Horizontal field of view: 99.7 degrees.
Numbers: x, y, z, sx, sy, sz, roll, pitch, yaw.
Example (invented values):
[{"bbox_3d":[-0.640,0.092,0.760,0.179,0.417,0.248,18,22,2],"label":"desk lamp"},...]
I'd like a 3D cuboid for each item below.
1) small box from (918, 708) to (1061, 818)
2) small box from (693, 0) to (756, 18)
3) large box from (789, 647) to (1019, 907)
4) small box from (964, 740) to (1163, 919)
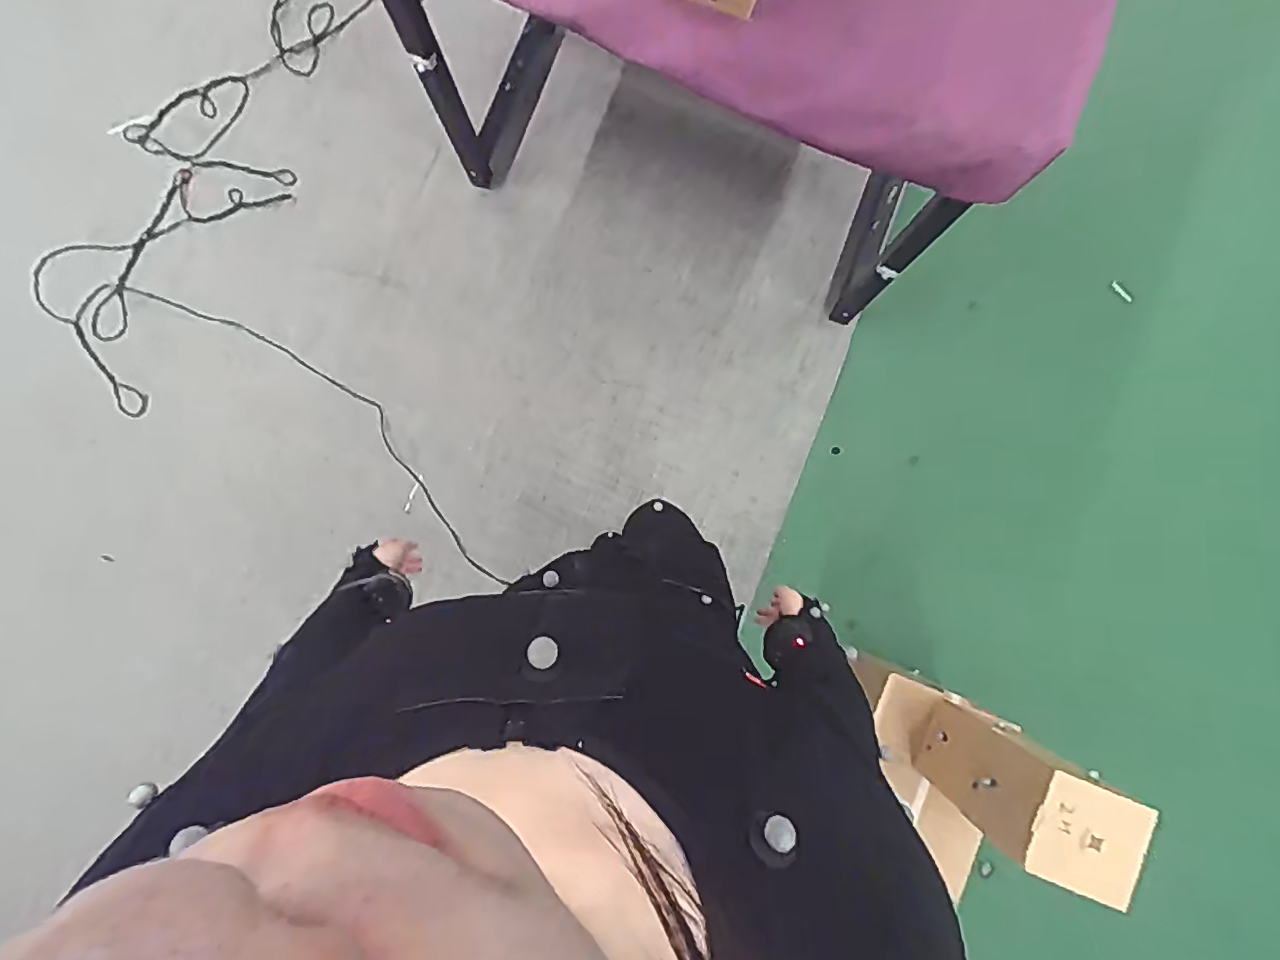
[{"bbox_3d":[0.700,0.582,1.075,0.179,0.176,0.168,23,86,1],"label":"small box"},{"bbox_3d":[0.126,-0.830,0.769,0.168,0.176,0.179,23,86,2],"label":"small box"},{"bbox_3d":[0.611,0.679,1.310,0.320,0.320,0.408,23,86,2],"label":"large box"},{"bbox_3d":[0.698,0.571,0.911,0.179,0.176,0.168,22,86,2],"label":"small box"}]
